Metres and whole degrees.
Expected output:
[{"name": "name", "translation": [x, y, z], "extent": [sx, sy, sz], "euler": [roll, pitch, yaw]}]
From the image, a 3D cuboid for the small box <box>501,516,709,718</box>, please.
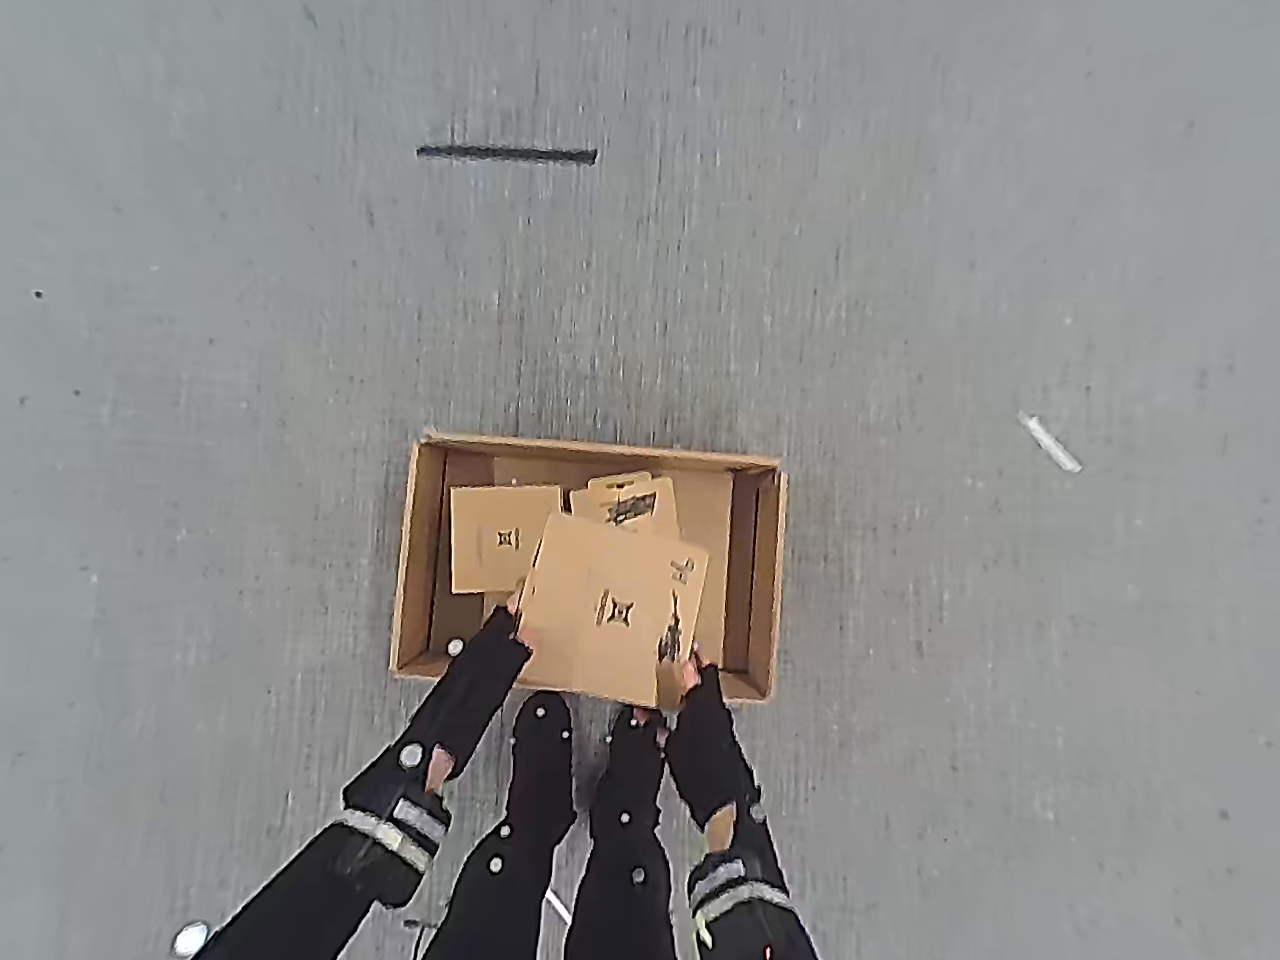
[{"name": "small box", "translation": [-0.040, 0.149, 0.608], "extent": [0.179, 0.176, 0.168], "euler": [14, 78, -5]}]
